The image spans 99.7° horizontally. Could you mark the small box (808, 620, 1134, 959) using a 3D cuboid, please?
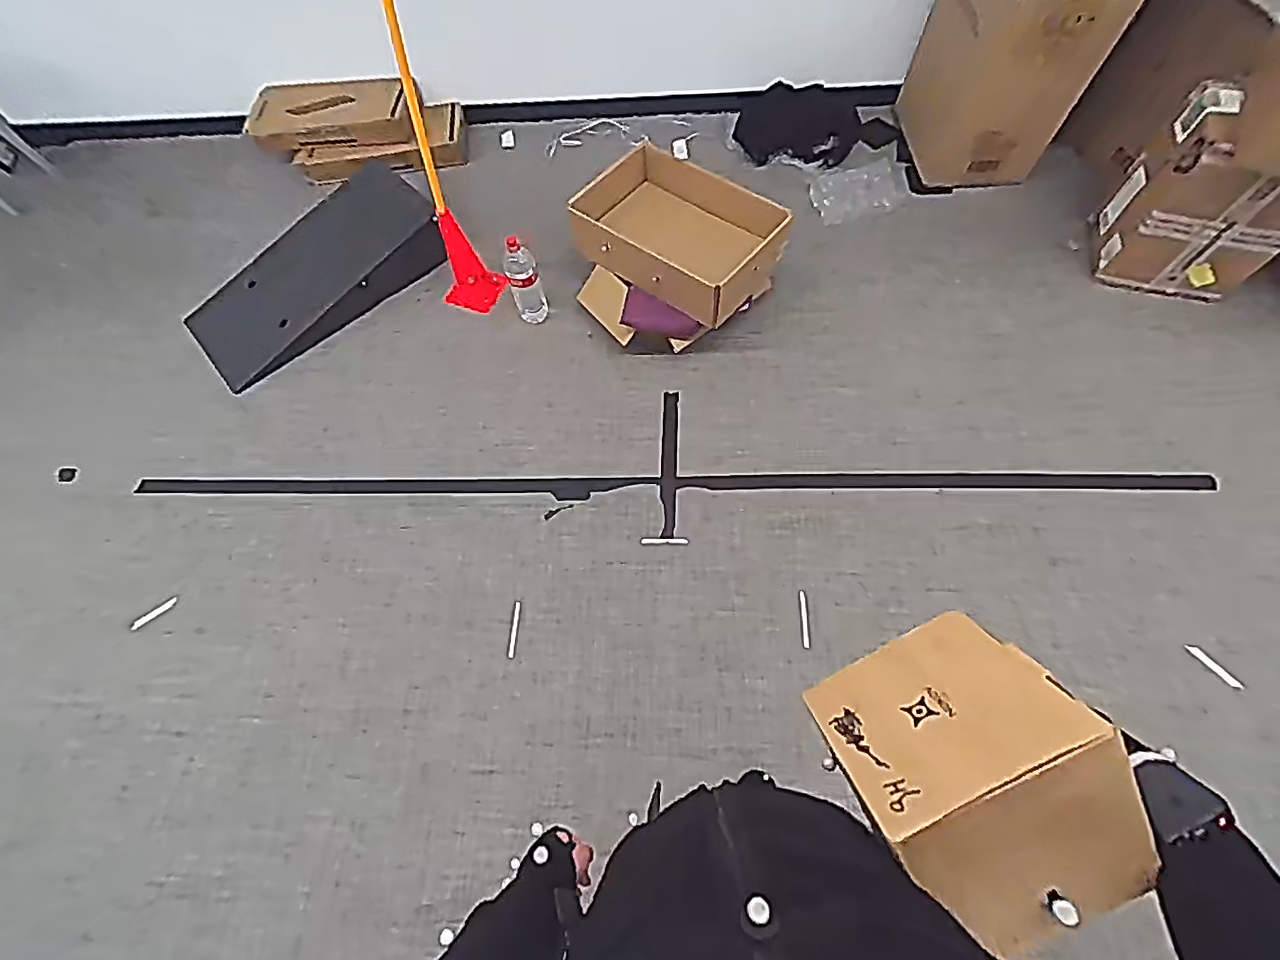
[{"bbox_3d":[0.288,0.267,0.486,0.179,0.168,0.176,-29,106,2],"label":"small box"}]
